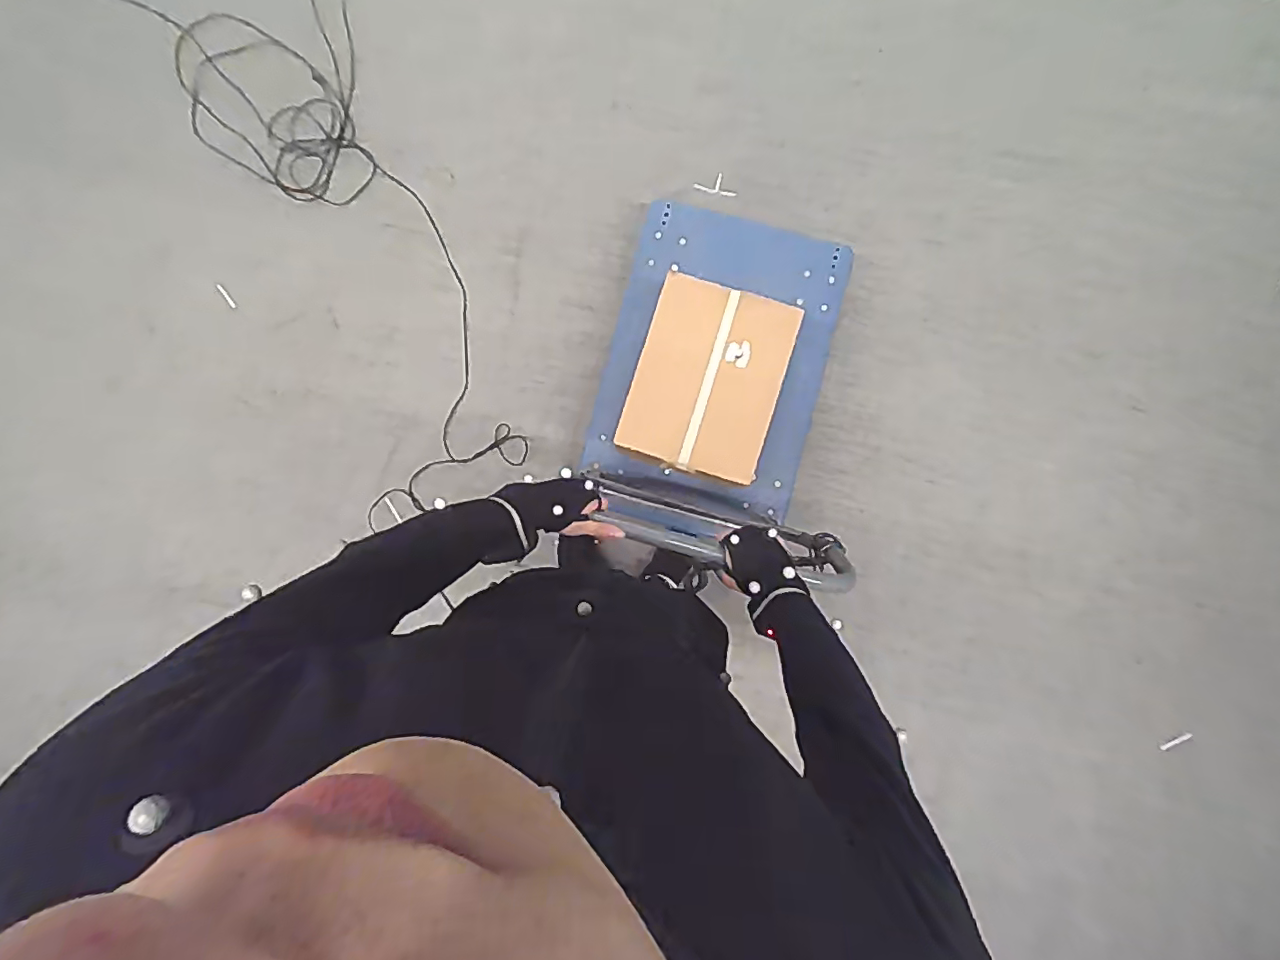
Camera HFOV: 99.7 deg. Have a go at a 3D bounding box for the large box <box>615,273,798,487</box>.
[{"bbox_3d":[0.150,-0.218,1.329,0.320,0.320,0.408,18,88,1],"label":"large box"}]
